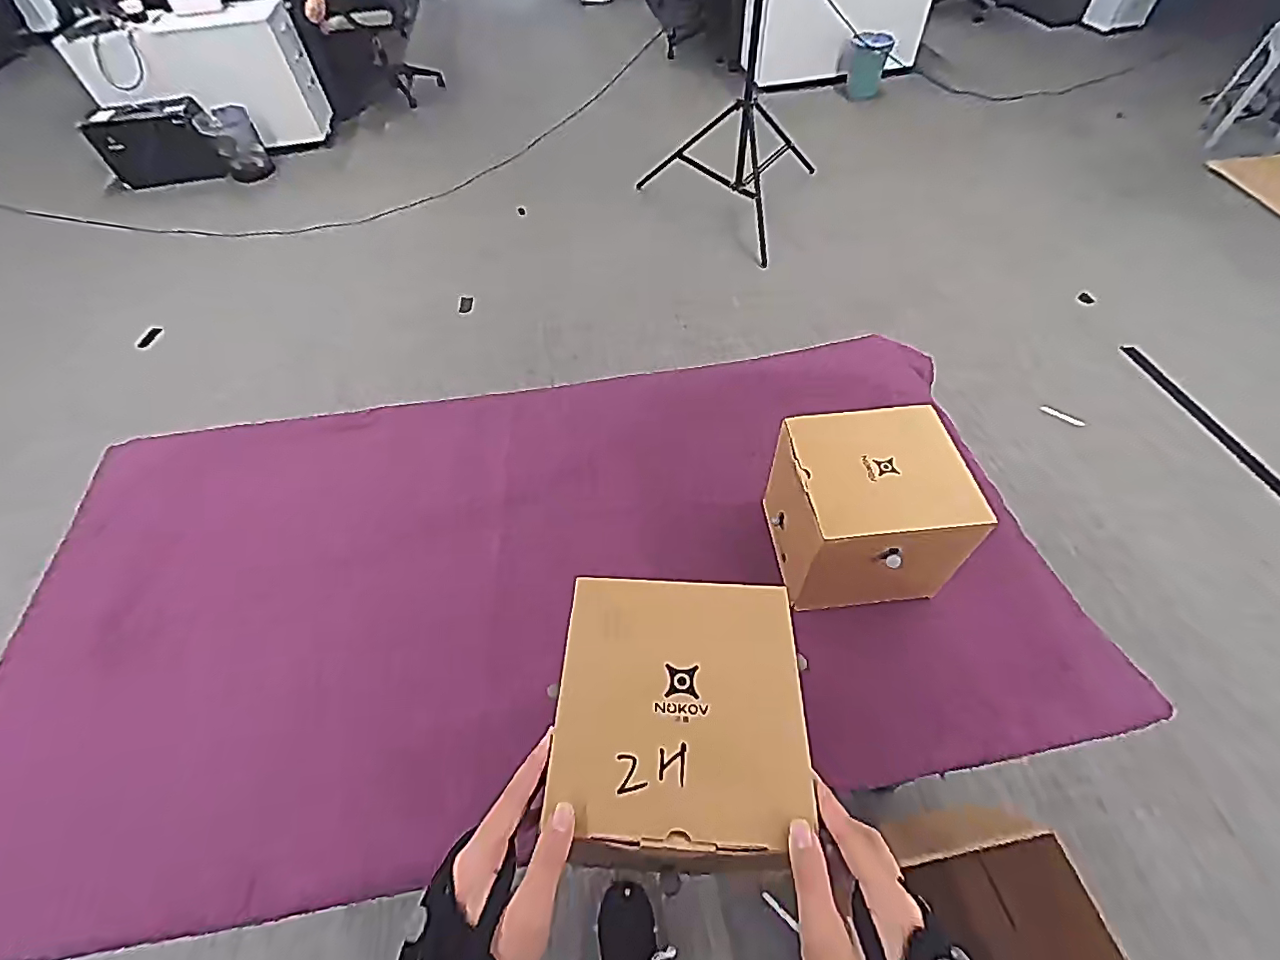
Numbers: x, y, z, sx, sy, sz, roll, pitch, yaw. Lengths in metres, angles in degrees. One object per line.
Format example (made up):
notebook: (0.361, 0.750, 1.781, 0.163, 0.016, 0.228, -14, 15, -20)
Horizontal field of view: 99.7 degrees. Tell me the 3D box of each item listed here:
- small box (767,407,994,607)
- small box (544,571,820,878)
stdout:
small box: (0.262, 0.037, 0.641, 0.179, 0.176, 0.168, -6, 53, 0)
small box: (0.029, 0.194, 0.429, 0.168, 0.176, 0.179, 2, 49, 3)
